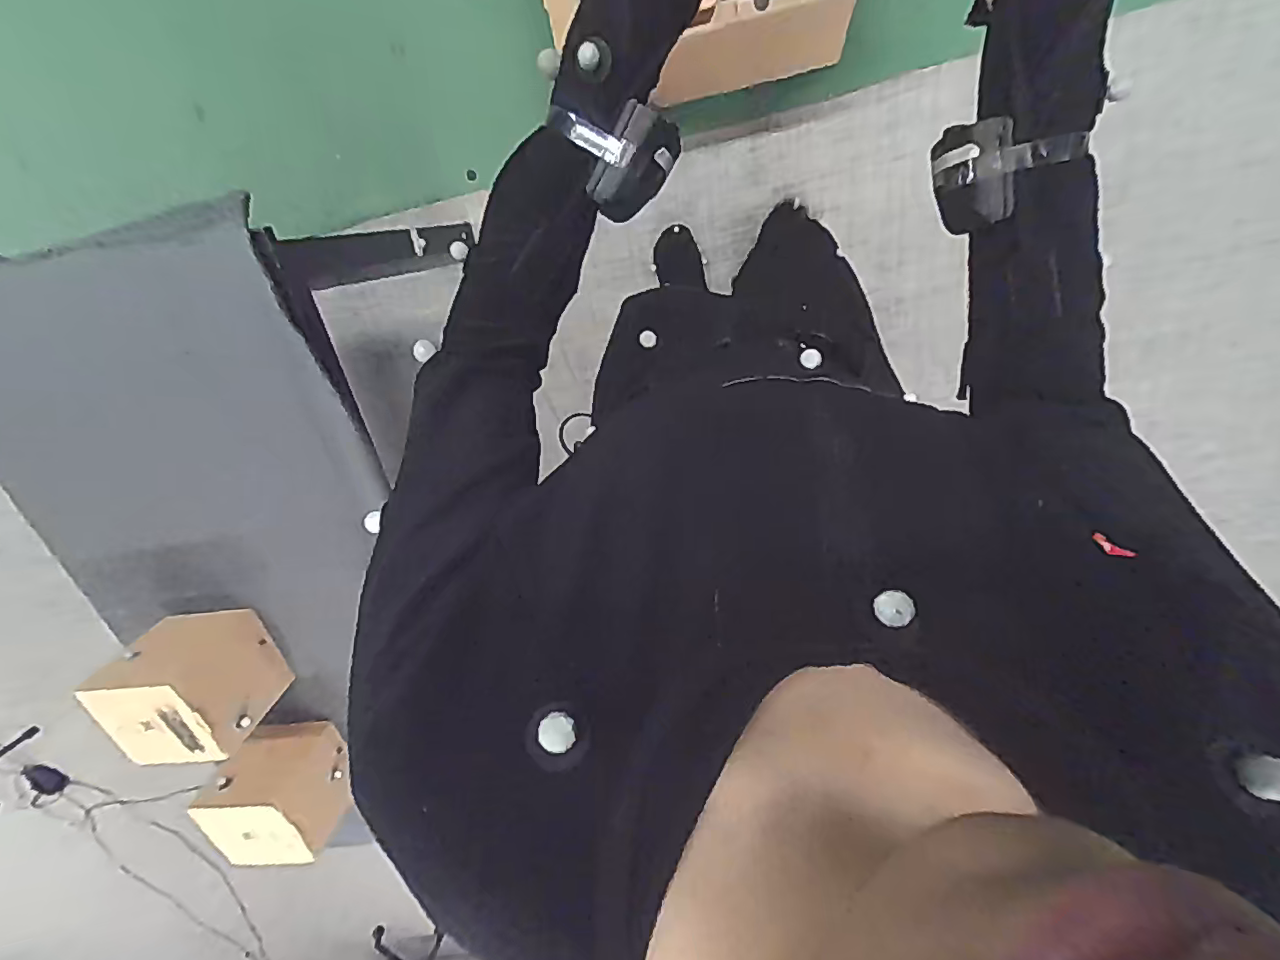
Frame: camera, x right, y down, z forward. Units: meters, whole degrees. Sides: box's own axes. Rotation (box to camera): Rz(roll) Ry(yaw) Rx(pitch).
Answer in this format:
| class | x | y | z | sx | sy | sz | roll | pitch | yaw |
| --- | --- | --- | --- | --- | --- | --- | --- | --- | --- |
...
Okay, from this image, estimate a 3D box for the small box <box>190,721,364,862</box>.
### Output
| class | x | y | z | sx | sy | sz | roll | pitch | yaw |
| --- | --- | --- | --- | --- | --- | --- | --- | --- | --- |
| small box | -0.661 | 0.575 | 1.009 | 0.179 | 0.176 | 0.168 | -8 | 116 | 8 |
